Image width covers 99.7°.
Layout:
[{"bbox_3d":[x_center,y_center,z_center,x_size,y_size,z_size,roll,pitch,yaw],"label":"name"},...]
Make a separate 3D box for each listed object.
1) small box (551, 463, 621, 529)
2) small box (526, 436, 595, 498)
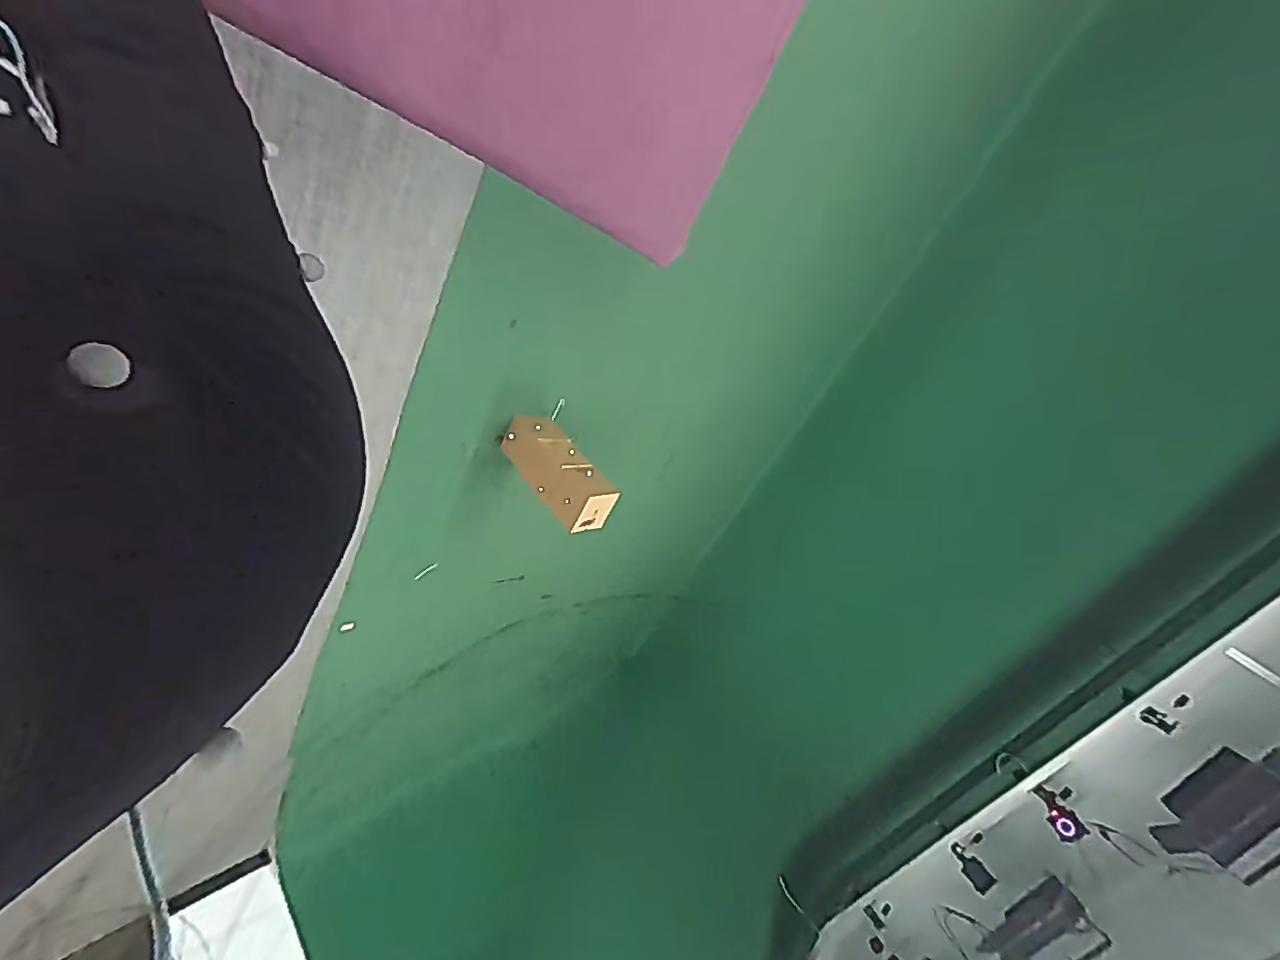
[{"bbox_3d":[-0.207,0.055,2.012,0.168,0.176,0.179,-6,134,-50],"label":"small box"},{"bbox_3d":[-0.312,-0.054,2.078,0.168,0.176,0.179,-4,133,-51],"label":"small box"}]
